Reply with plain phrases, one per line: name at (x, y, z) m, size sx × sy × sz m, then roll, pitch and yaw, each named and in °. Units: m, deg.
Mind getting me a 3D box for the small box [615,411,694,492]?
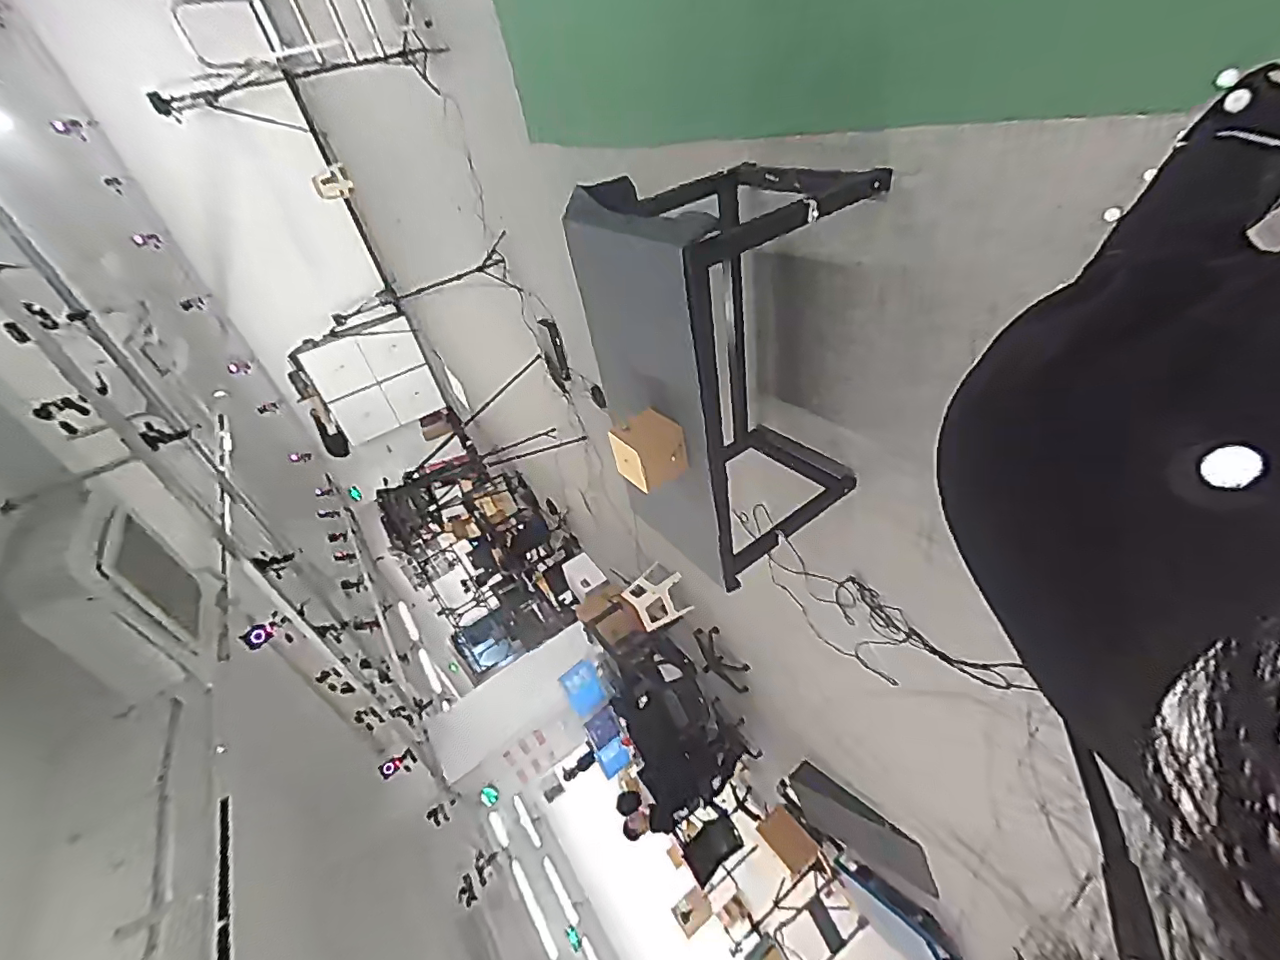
small box at (0.049, -0.096, 1.704) m, size 0.179 × 0.176 × 0.168 m, roll 37°, pitch 151°, yaw 46°
